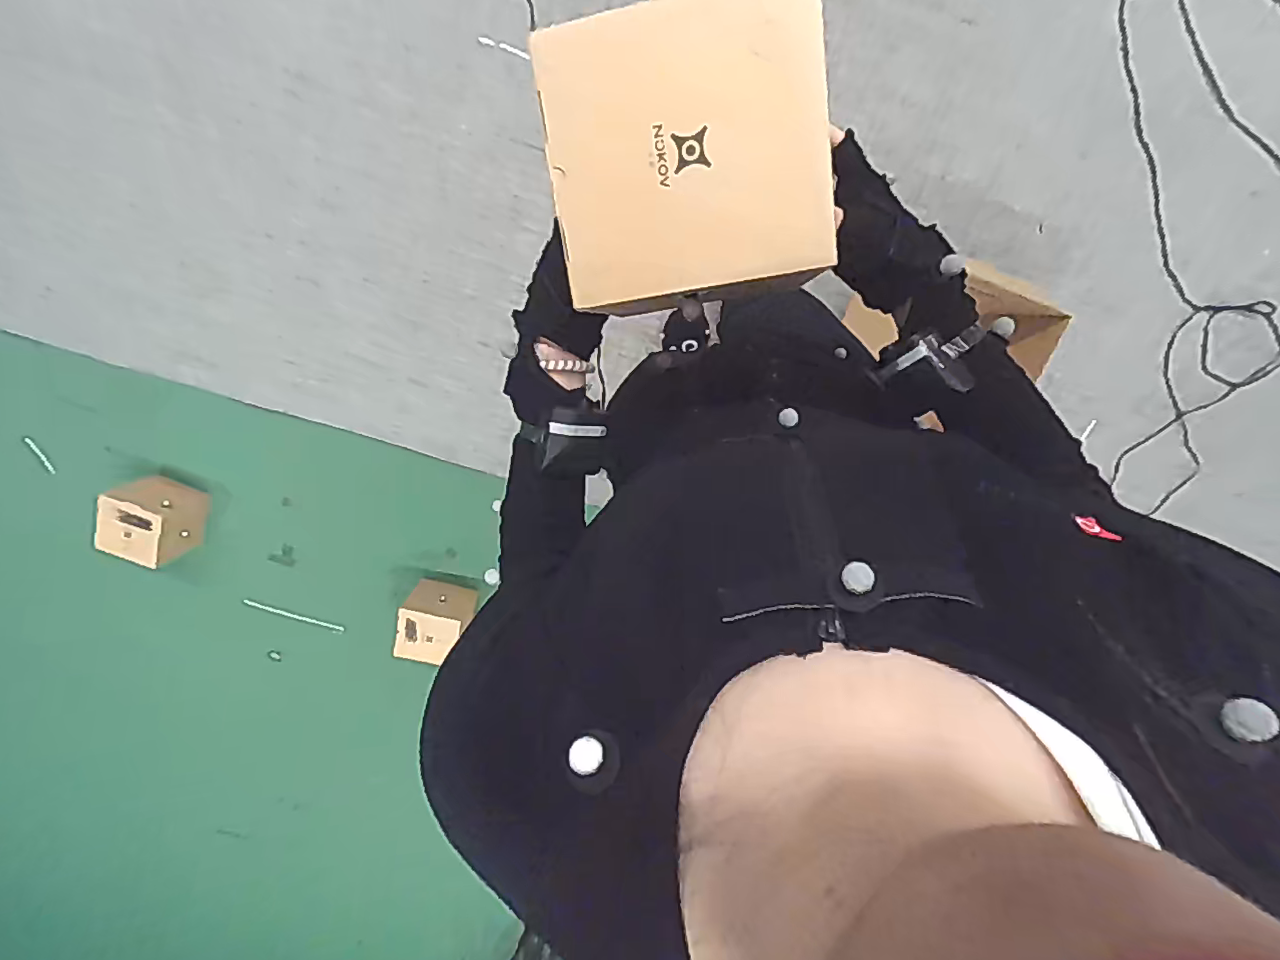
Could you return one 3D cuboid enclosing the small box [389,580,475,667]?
[{"bbox_3d":[-0.606,0.414,1.587,0.179,0.176,0.168,14,109,-5],"label":"small box"}]

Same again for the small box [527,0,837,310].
[{"bbox_3d":[0.038,-0.225,0.406,0.179,0.176,0.168,-6,105,11],"label":"small box"}]
